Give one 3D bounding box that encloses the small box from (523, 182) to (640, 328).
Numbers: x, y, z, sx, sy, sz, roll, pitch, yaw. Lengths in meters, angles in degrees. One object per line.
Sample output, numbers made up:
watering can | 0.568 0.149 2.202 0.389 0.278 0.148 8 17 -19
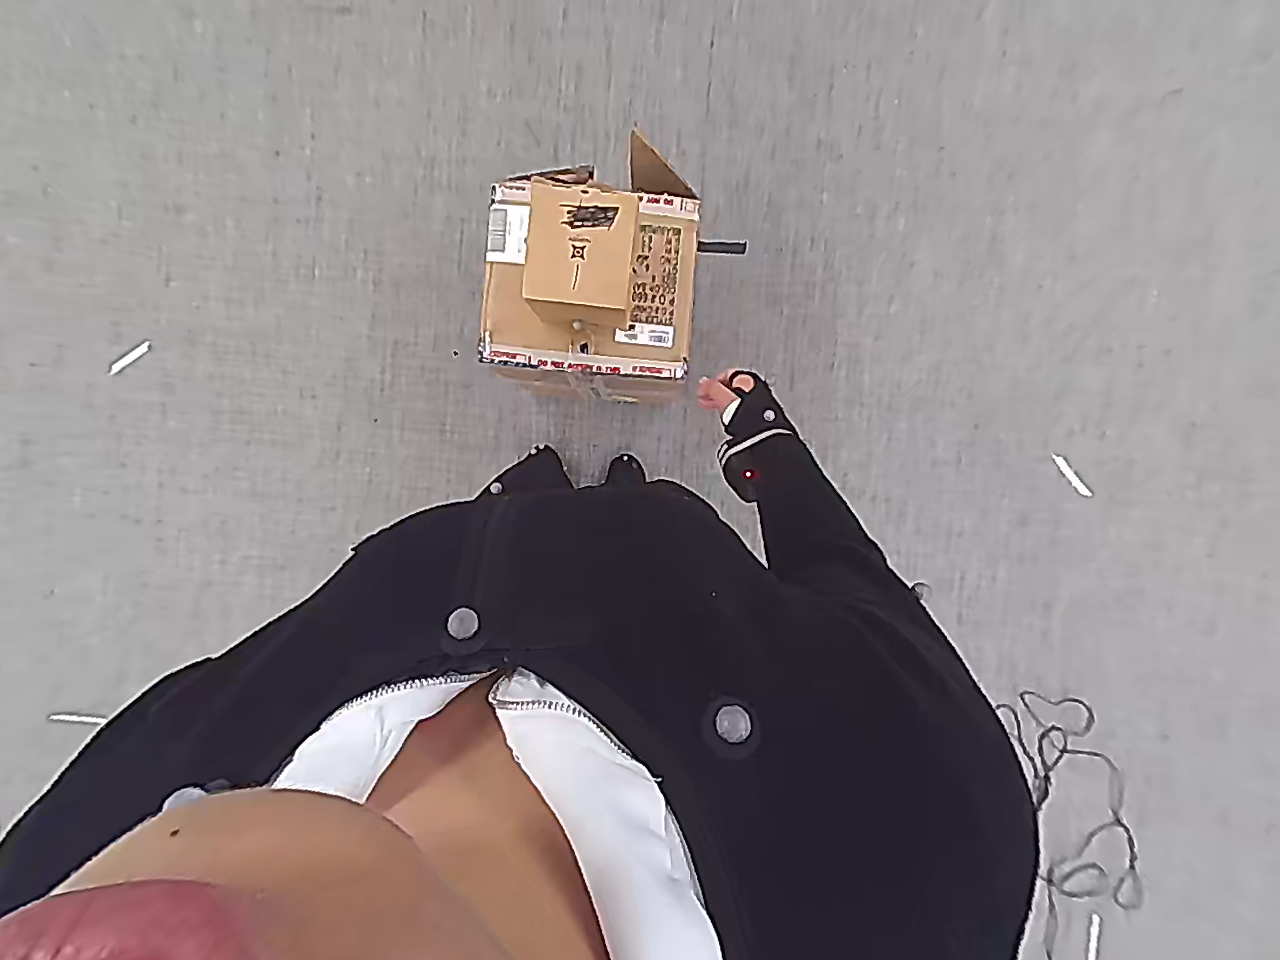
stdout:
small box | -0.092 -0.369 0.914 0.168 0.176 0.179 7 95 -1
